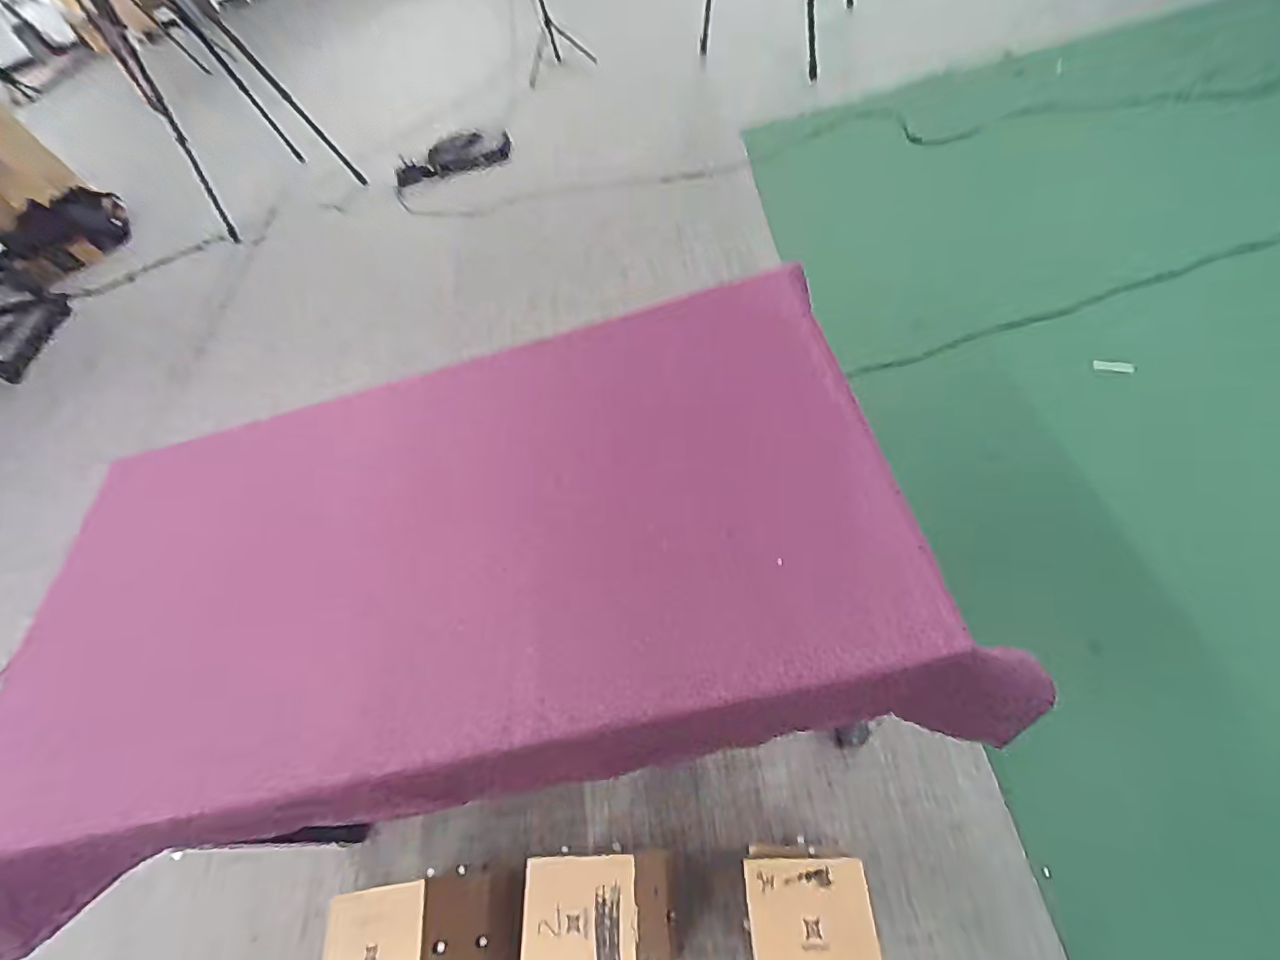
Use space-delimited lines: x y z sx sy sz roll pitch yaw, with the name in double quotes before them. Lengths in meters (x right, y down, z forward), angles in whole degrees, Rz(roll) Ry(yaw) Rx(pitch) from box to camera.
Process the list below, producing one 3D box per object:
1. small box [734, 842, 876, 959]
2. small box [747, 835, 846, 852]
"small box" 0.237 0.649 0.793 0.168 0.176 0.179 -10 58 4
"small box" 0.276 0.727 0.937 0.168 0.176 0.179 -4 56 12
